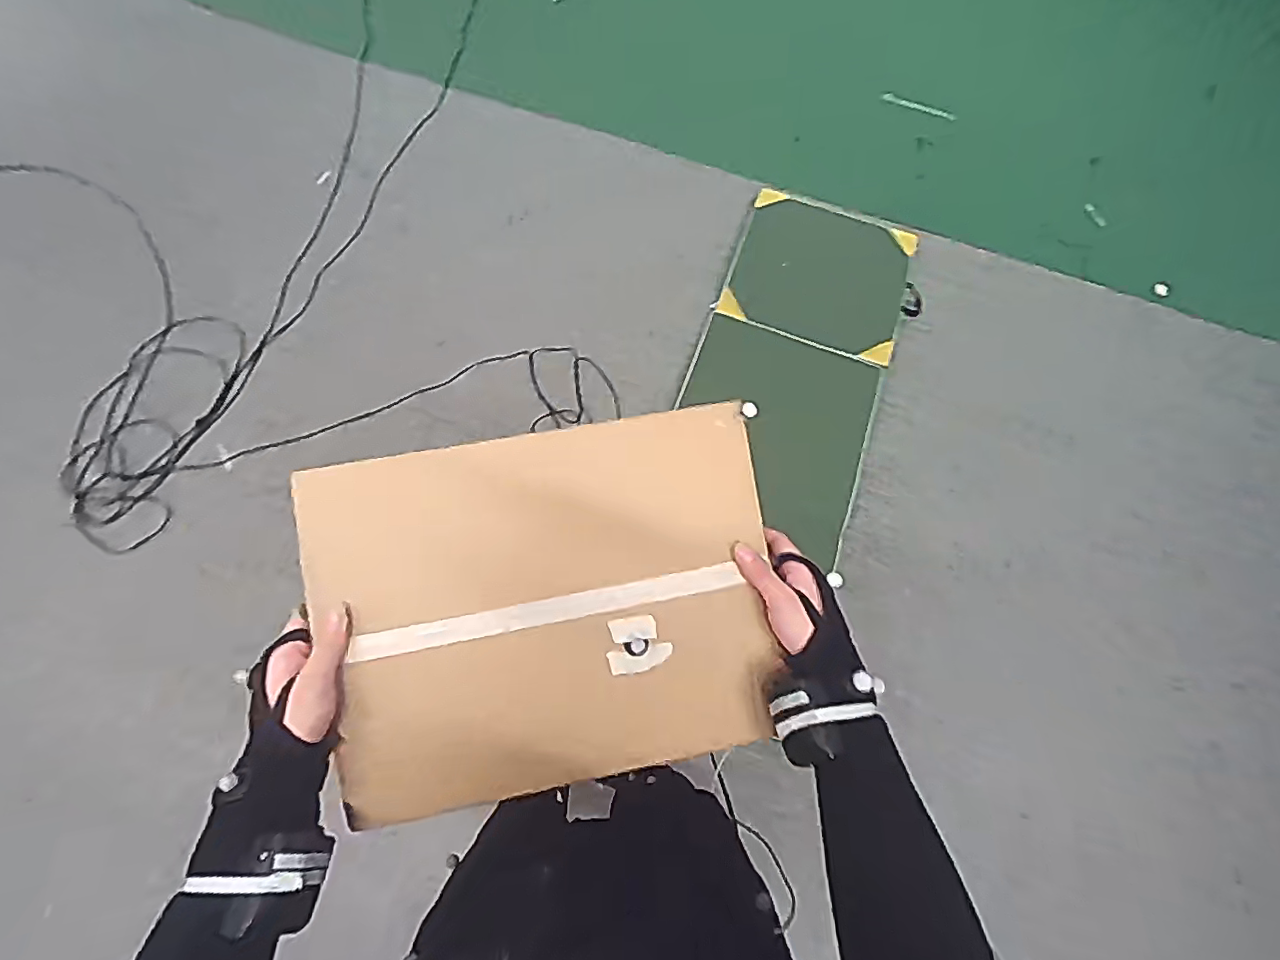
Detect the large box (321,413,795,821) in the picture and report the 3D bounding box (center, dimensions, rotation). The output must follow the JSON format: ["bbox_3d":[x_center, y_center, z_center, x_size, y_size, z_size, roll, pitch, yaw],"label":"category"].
[{"bbox_3d":[-0.086,0.127,0.647,0.408,0.320,0.320,-9,88,-6],"label":"large box"}]
